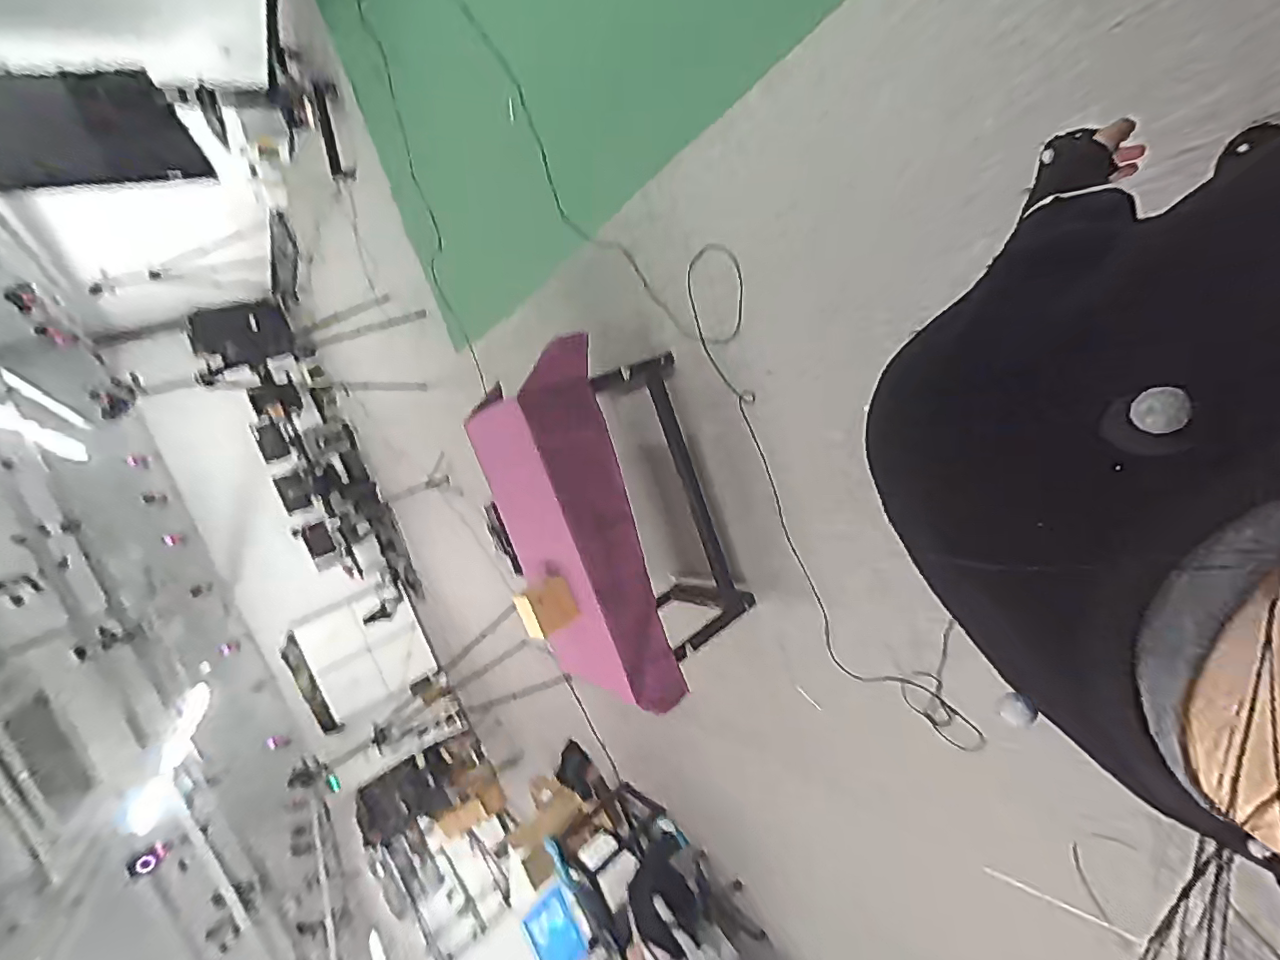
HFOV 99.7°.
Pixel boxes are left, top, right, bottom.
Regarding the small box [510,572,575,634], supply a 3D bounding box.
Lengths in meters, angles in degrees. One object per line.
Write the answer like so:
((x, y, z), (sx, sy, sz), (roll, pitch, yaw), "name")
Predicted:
((-0.377, 0.476, 2.114), (0.168, 0.176, 0.179), (-14, 99, 56), "small box")
